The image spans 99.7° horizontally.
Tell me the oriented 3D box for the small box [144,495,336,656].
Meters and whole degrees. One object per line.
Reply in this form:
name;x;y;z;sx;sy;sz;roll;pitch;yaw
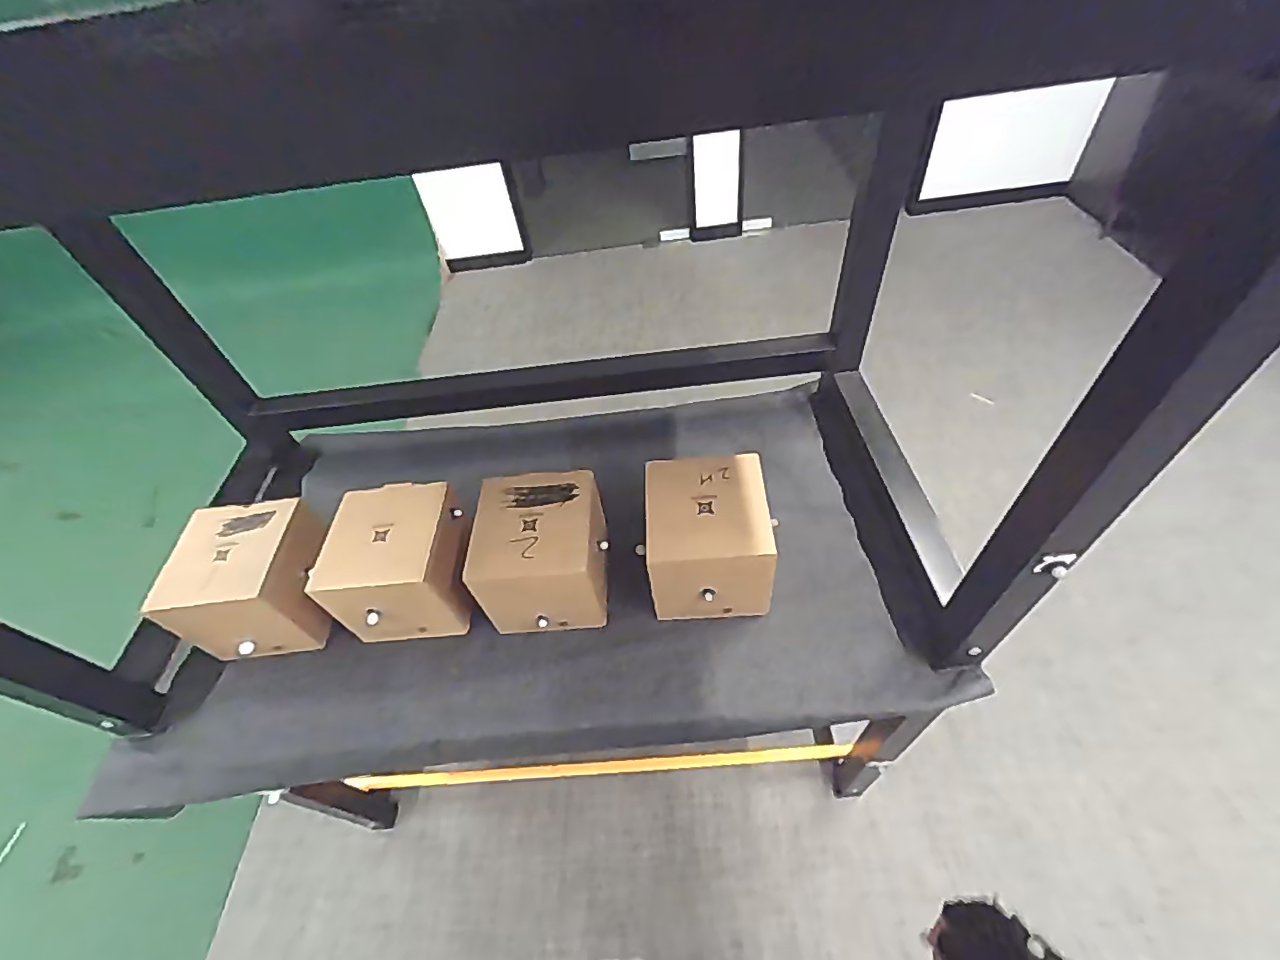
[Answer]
small box;-0.581;0.149;0.835;0.168;0.176;0.179;-7;49;2

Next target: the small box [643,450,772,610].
small box;0.096;0.080;0.794;0.168;0.176;0.179;-4;49;5

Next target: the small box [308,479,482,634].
small box;-0.356;0.124;0.827;0.168;0.176;0.179;-5;48;3
